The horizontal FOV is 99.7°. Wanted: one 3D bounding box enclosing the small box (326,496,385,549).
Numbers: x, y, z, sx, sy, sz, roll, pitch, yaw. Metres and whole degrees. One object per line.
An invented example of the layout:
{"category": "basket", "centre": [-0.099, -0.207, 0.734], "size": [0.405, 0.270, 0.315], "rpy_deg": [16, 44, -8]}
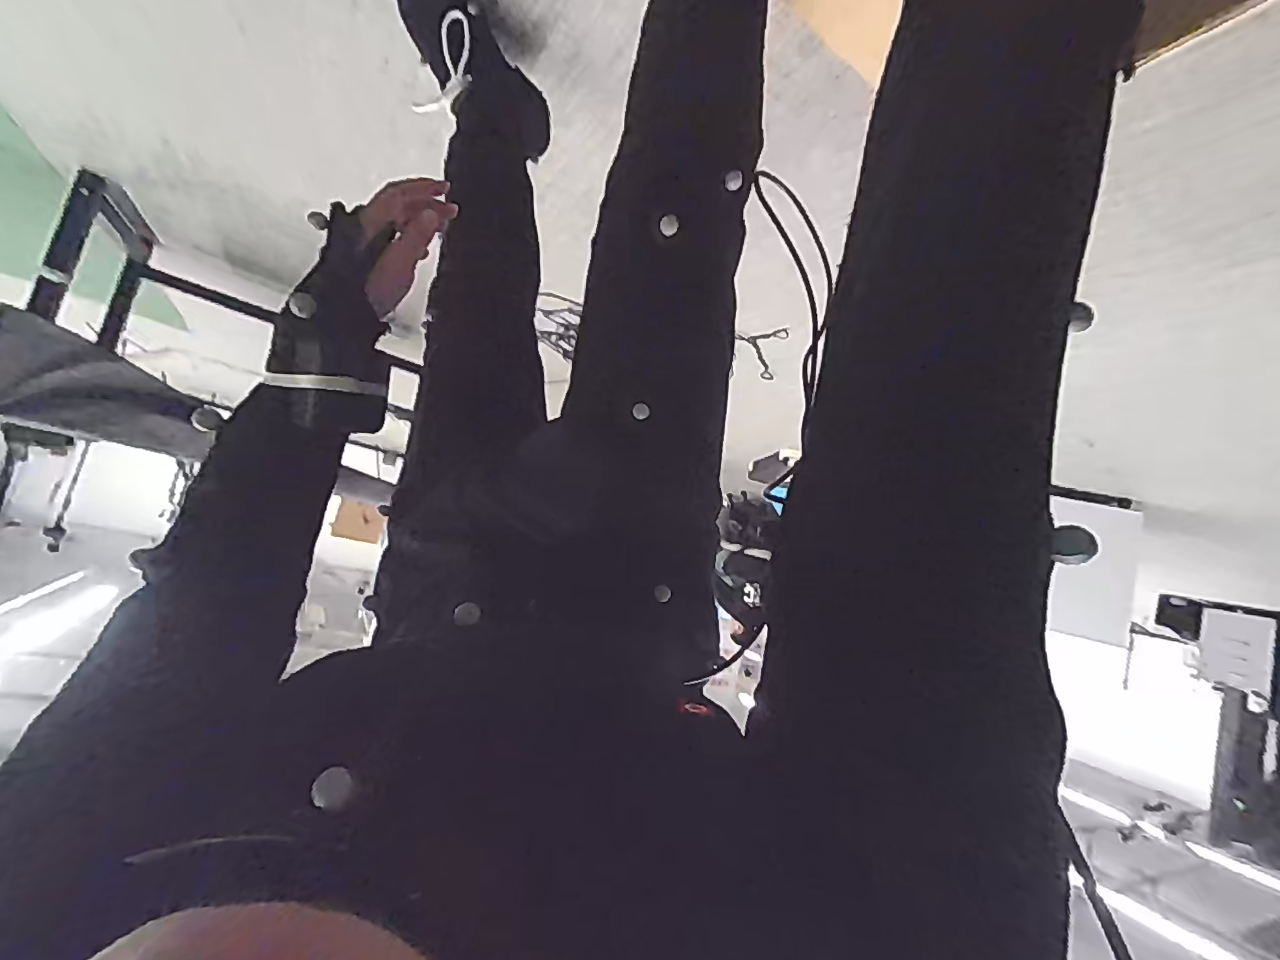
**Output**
{"category": "small box", "centre": [-1.098, 0.159, 2.084], "size": [0.168, 0.176, 0.179], "rpy_deg": [17, 173, -29]}
